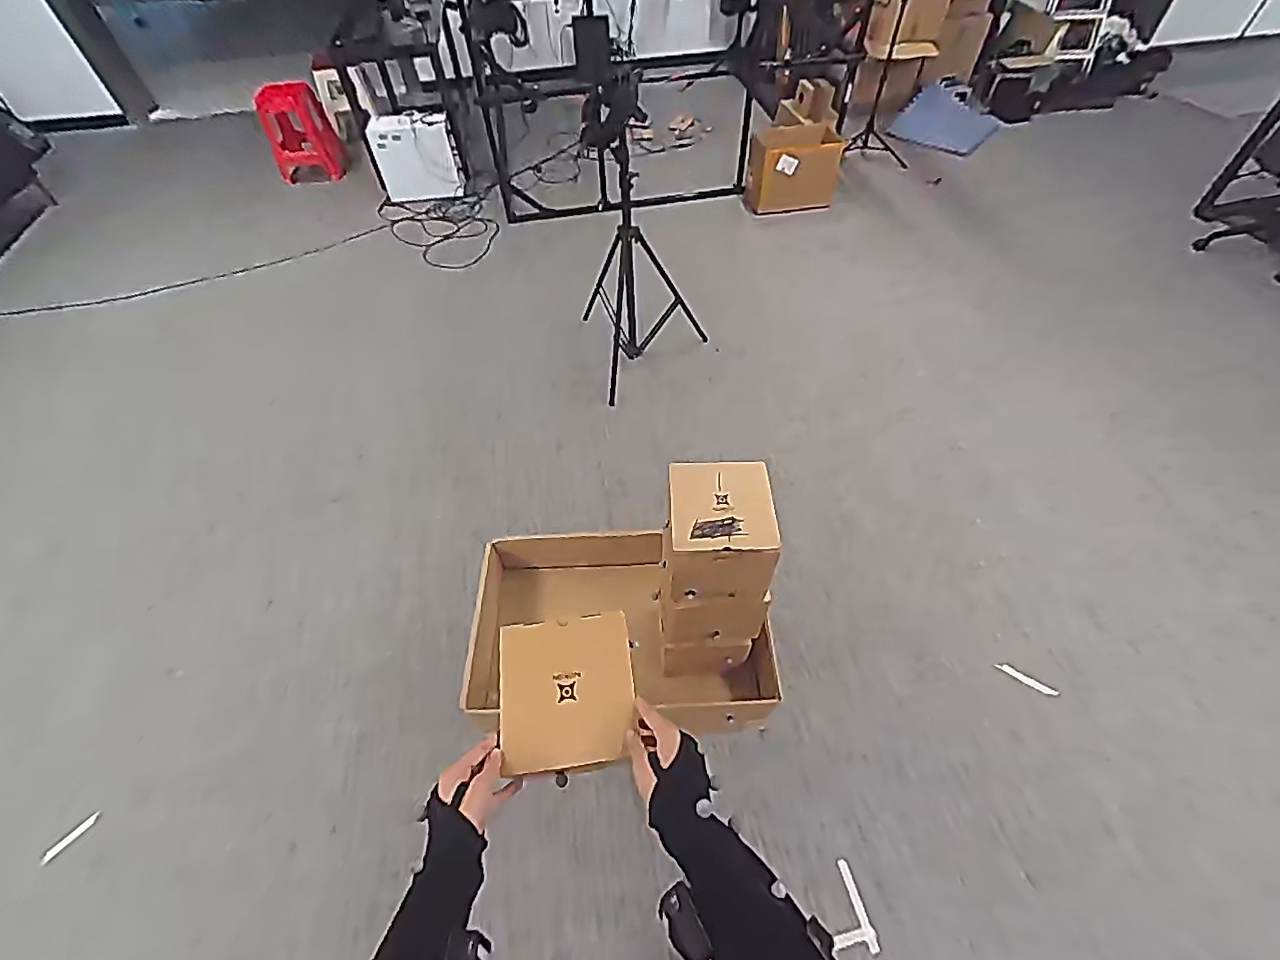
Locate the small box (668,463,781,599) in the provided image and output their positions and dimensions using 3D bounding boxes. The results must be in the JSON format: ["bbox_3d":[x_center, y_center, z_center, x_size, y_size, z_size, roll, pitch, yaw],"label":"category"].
[{"bbox_3d":[0.132,0.091,0.913,0.168,0.176,0.179,-1,51,1],"label":"small box"}]

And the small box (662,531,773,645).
[{"bbox_3d":[0.137,0.204,1.034,0.179,0.176,0.168,-3,52,-2],"label":"small box"}]

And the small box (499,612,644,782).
[{"bbox_3d":[-0.086,0.295,0.720,0.168,0.176,0.179,-7,58,-3],"label":"small box"}]
